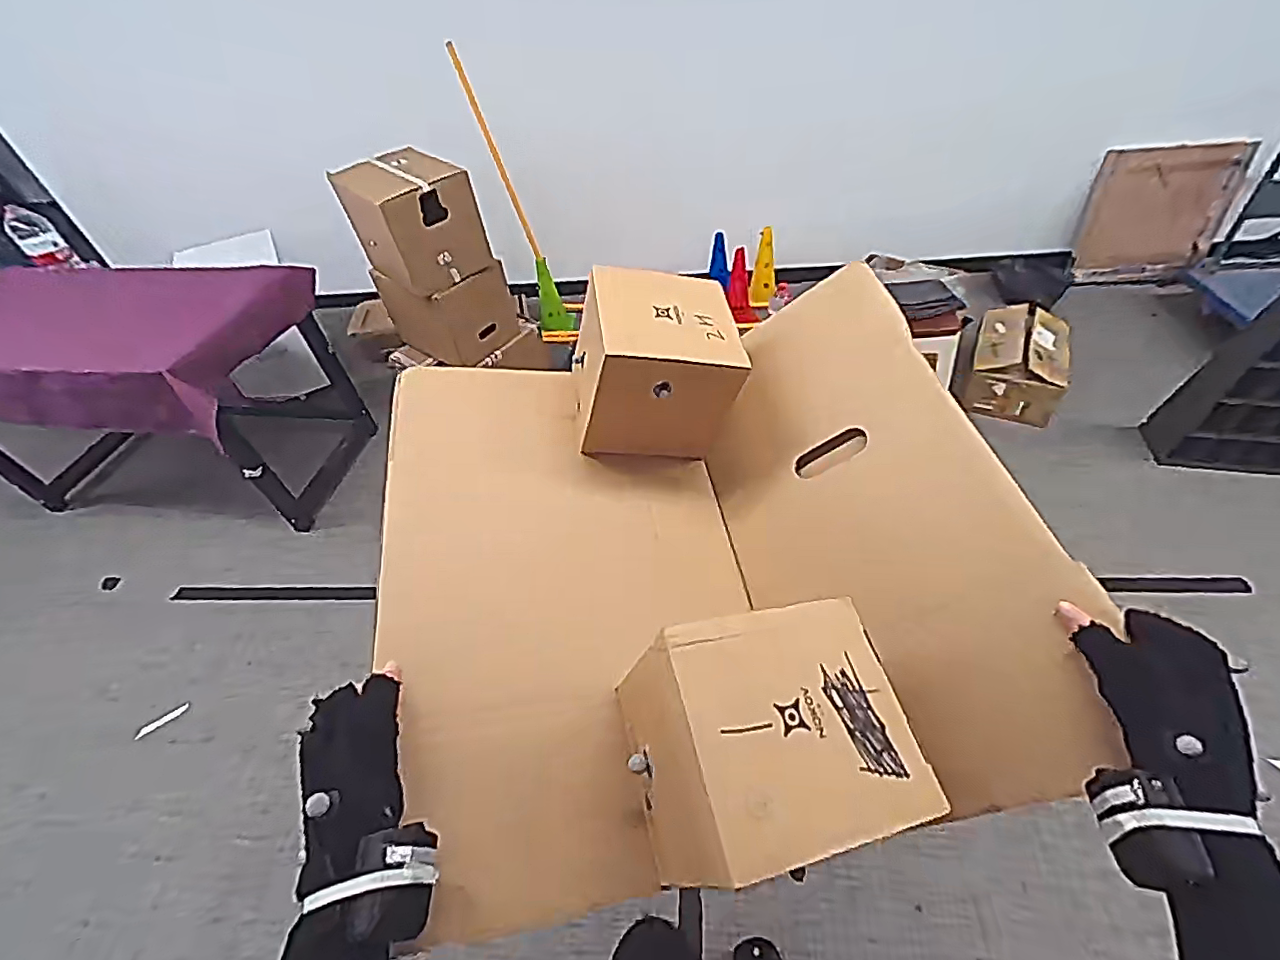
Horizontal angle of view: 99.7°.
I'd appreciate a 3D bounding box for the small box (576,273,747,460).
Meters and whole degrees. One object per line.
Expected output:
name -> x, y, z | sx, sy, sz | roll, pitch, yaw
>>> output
small box -> 0.013, -0.141, 0.707 | 0.179, 0.176, 0.168 | 3, 53, -16
